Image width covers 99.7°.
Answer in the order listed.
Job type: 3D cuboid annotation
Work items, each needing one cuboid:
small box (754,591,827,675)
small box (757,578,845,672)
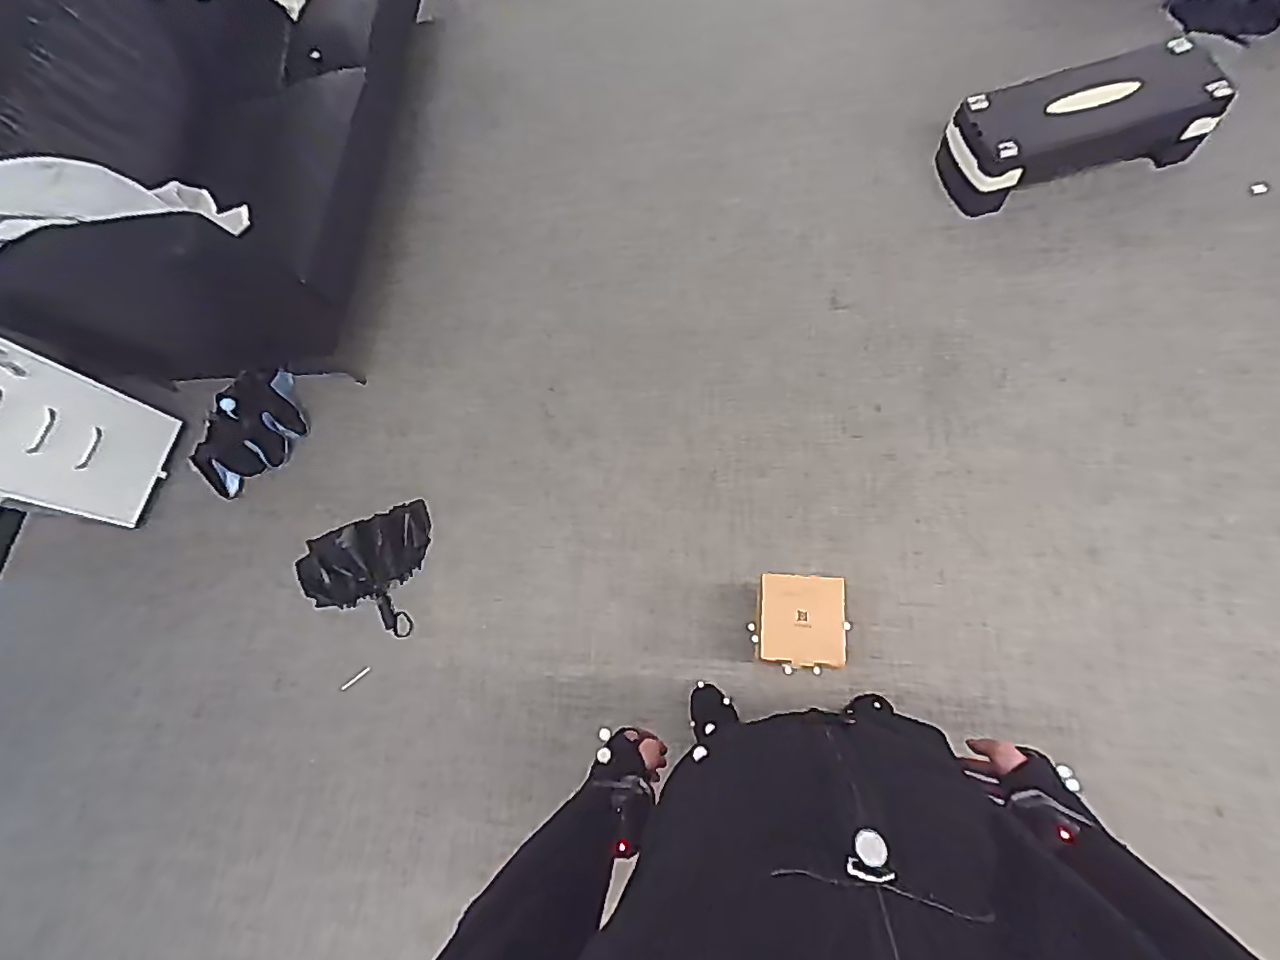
[{"bbox_3d":[0.367,0.377,1.326,0.168,0.176,0.179,3,71,12],"label":"small box"},{"bbox_3d":[0.344,0.320,1.176,0.168,0.176,0.179,1,69,10],"label":"small box"}]
